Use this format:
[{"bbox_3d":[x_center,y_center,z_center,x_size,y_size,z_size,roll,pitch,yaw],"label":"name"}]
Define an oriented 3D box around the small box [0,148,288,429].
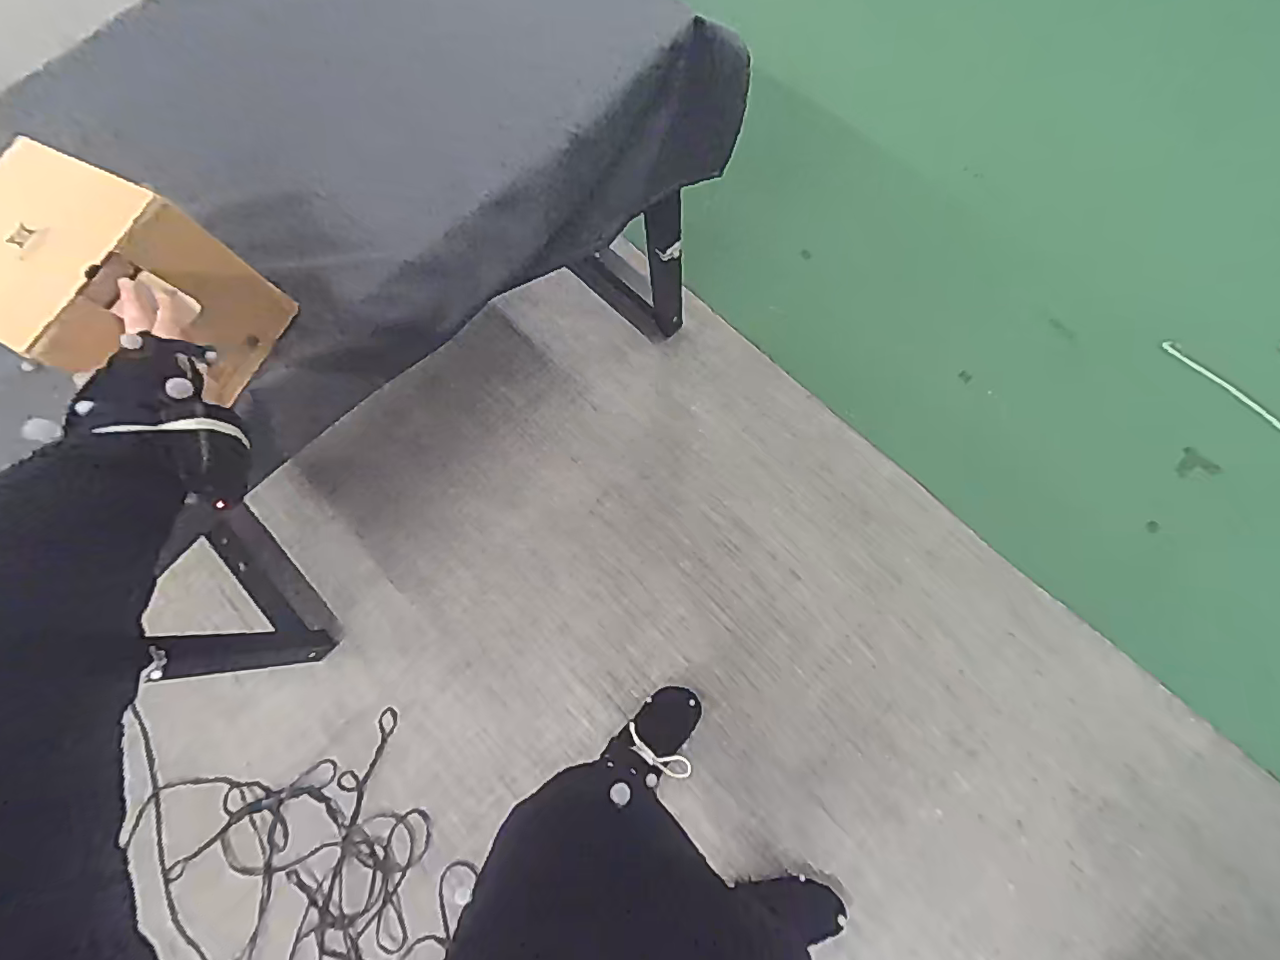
[{"bbox_3d":[-0.504,-0.170,0.525,0.179,0.176,0.168,25,78,11],"label":"small box"}]
